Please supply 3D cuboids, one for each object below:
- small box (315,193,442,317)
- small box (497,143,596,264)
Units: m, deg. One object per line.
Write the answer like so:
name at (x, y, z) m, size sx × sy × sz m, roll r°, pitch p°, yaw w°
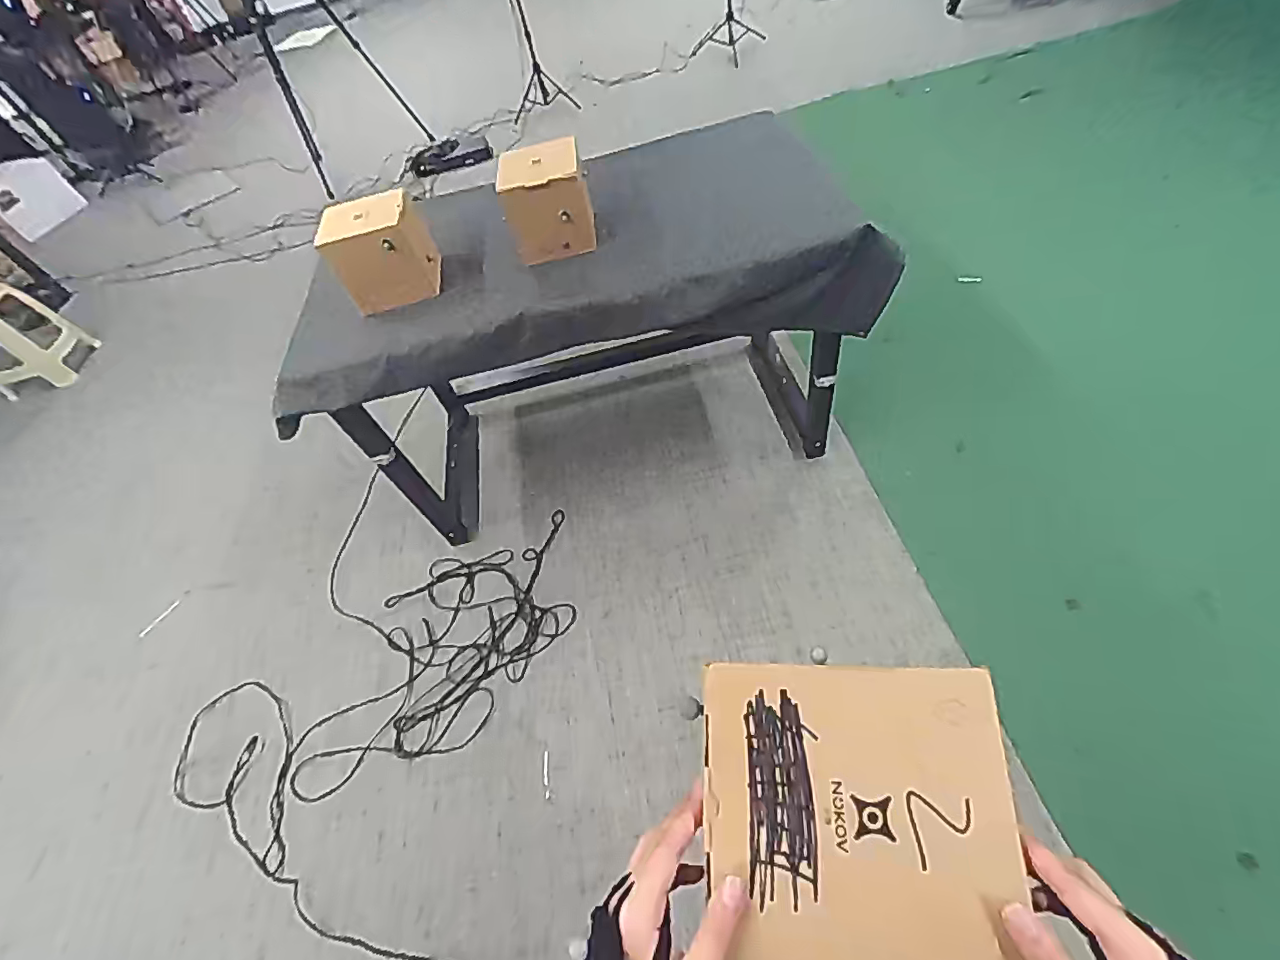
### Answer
small box at (-0.545, -0.474, 1.153) m, size 0.179 × 0.176 × 0.168 m, roll -15°, pitch 52°, yaw 0°
small box at (-0.194, -0.582, 1.157) m, size 0.168 × 0.176 × 0.179 m, roll -10°, pitch 51°, yaw 3°
